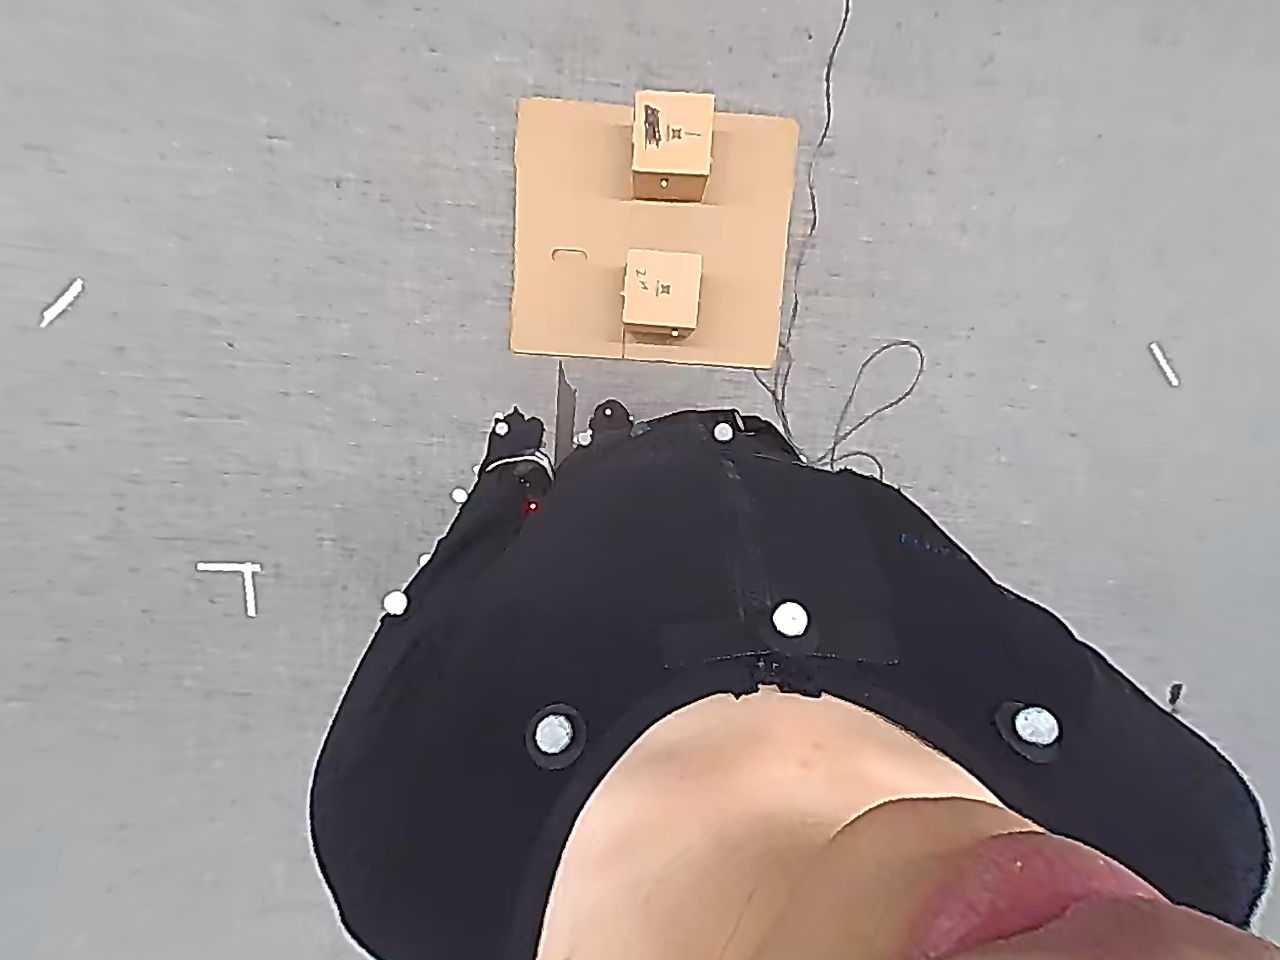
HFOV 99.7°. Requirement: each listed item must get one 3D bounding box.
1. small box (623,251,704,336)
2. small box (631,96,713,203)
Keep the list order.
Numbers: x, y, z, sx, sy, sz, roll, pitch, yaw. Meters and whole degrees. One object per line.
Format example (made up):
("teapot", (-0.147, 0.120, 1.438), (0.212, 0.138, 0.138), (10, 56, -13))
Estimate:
("small box", (0.055, -0.450, 1.329), (0.179, 0.176, 0.168), (5, 99, 1))
("small box", (0.072, -0.773, 1.280), (0.179, 0.176, 0.168), (3, 99, 0))
